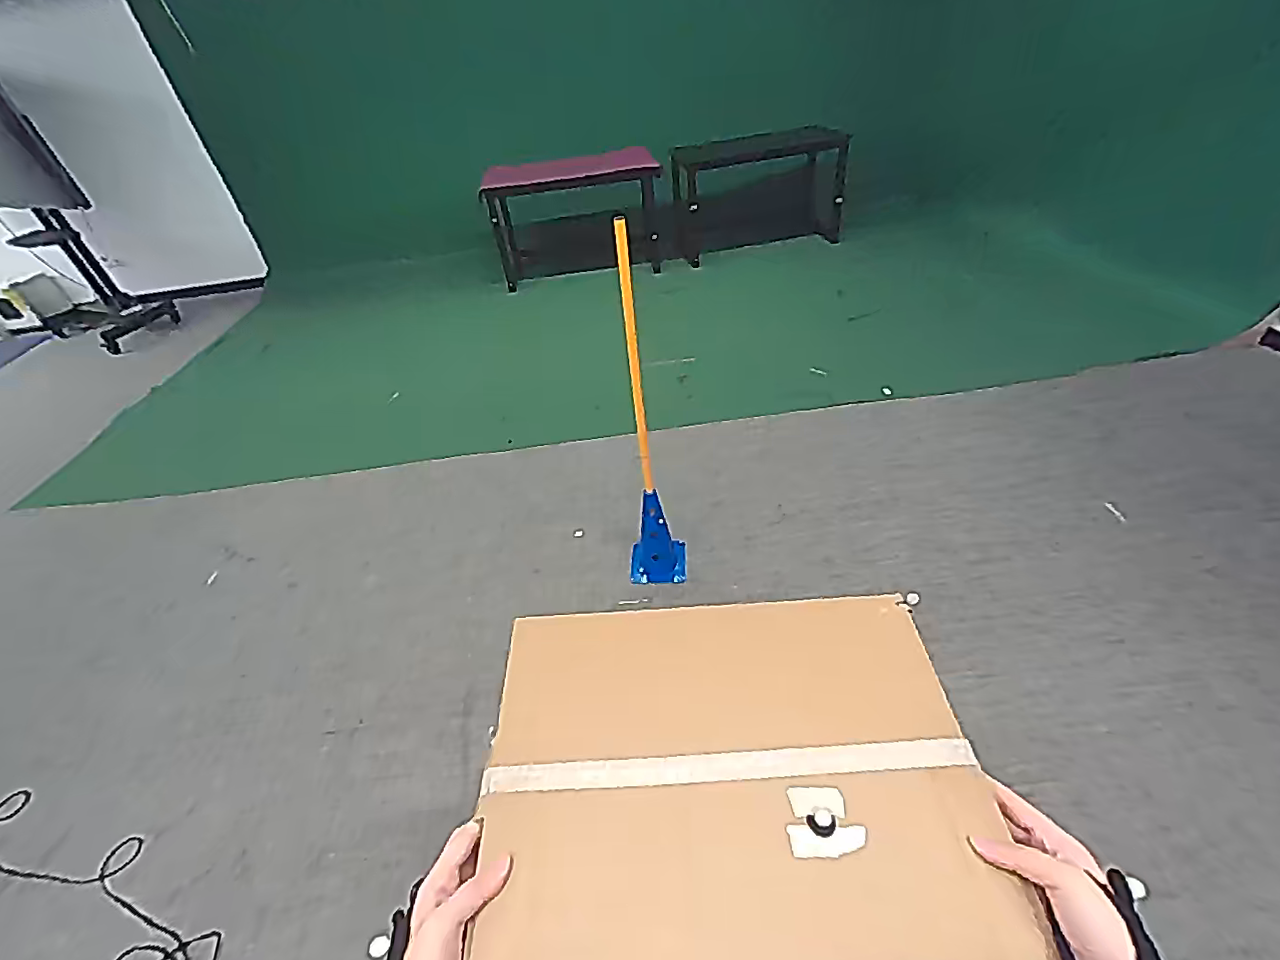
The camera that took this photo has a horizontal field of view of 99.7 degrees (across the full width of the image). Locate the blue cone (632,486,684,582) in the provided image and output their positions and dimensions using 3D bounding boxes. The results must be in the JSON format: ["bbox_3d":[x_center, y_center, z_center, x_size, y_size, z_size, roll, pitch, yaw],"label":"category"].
[{"bbox_3d":[0.051,0.182,1.905,0.193,0.380,0.192,-2,40,7],"label":"blue cone"}]

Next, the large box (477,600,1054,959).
[{"bbox_3d":[0.083,0.353,0.566,0.408,0.320,0.320,-3,45,1],"label":"large box"}]
